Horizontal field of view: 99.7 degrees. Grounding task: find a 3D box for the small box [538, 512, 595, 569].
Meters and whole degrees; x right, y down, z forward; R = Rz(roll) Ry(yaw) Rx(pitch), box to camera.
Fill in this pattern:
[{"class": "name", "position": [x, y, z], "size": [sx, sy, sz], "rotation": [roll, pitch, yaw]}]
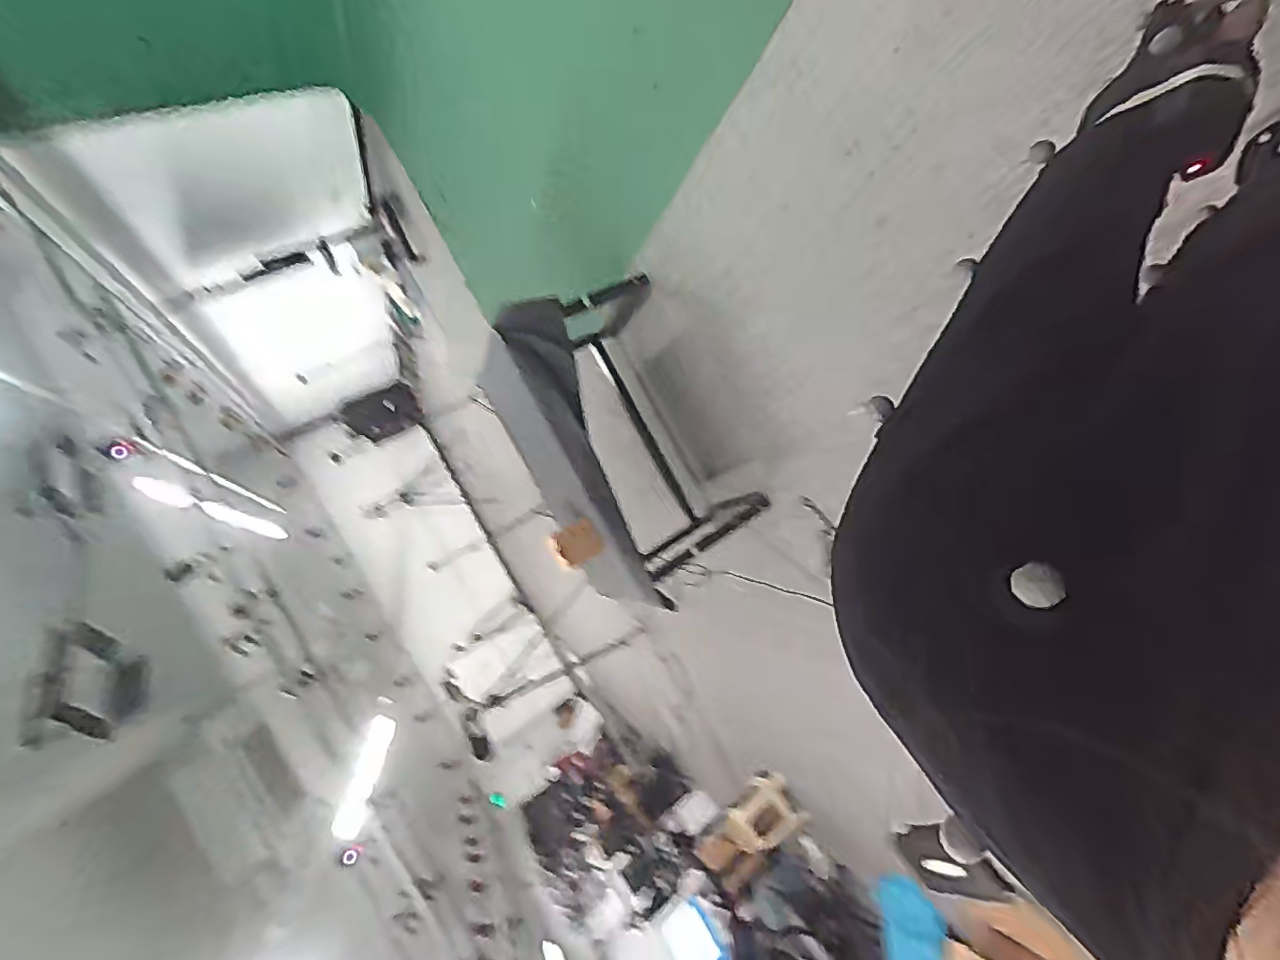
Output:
[{"class": "small box", "position": [-0.306, 0.252, 2.267], "size": [0.168, 0.176, 0.179], "rotation": [60, 158, 5]}]
